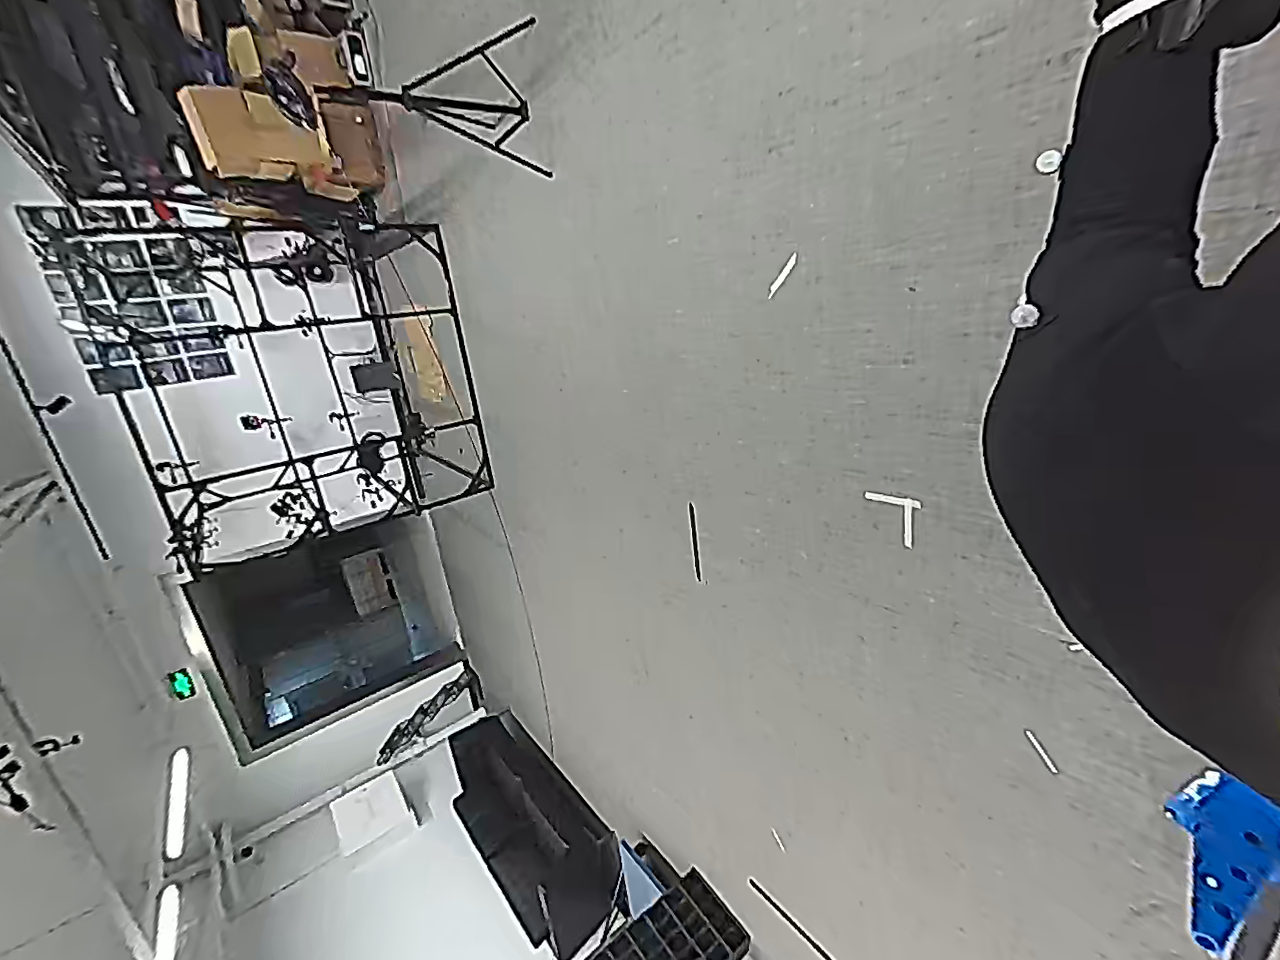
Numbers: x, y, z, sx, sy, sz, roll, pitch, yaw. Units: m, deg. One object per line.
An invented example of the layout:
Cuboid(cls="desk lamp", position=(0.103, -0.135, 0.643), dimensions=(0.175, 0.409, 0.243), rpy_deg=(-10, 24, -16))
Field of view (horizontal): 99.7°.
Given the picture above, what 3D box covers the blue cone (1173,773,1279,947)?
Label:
Cuboid(cls="blue cone", position=(1.220, 0.811, 1.120), dimensions=(0.193, 0.380, 0.192), rpy_deg=(41, 138, 38))
